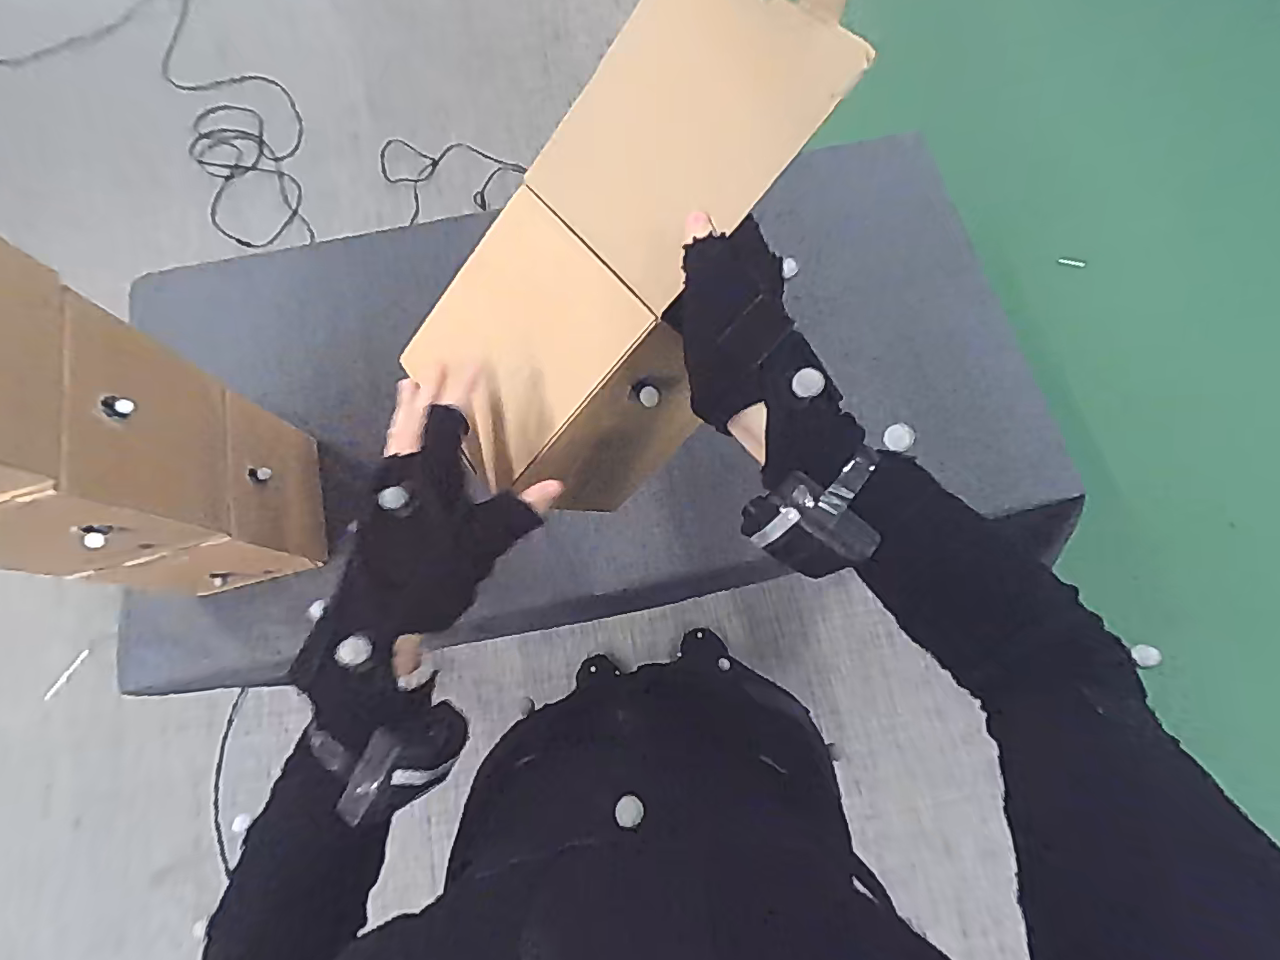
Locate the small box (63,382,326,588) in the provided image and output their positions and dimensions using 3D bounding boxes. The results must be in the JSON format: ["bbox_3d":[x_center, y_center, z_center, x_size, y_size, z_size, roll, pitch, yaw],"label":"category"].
[{"bbox_3d":[-0.494,0.015,0.626,0.168,0.176,0.179,-14,74,-3],"label":"small box"}]

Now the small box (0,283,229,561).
[{"bbox_3d":[-0.498,-0.033,0.471,0.168,0.176,0.179,-14,73,-3],"label":"small box"}]

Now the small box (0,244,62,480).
[{"bbox_3d":[-0.504,-0.087,0.316,0.168,0.176,0.179,-15,74,-4],"label":"small box"}]
